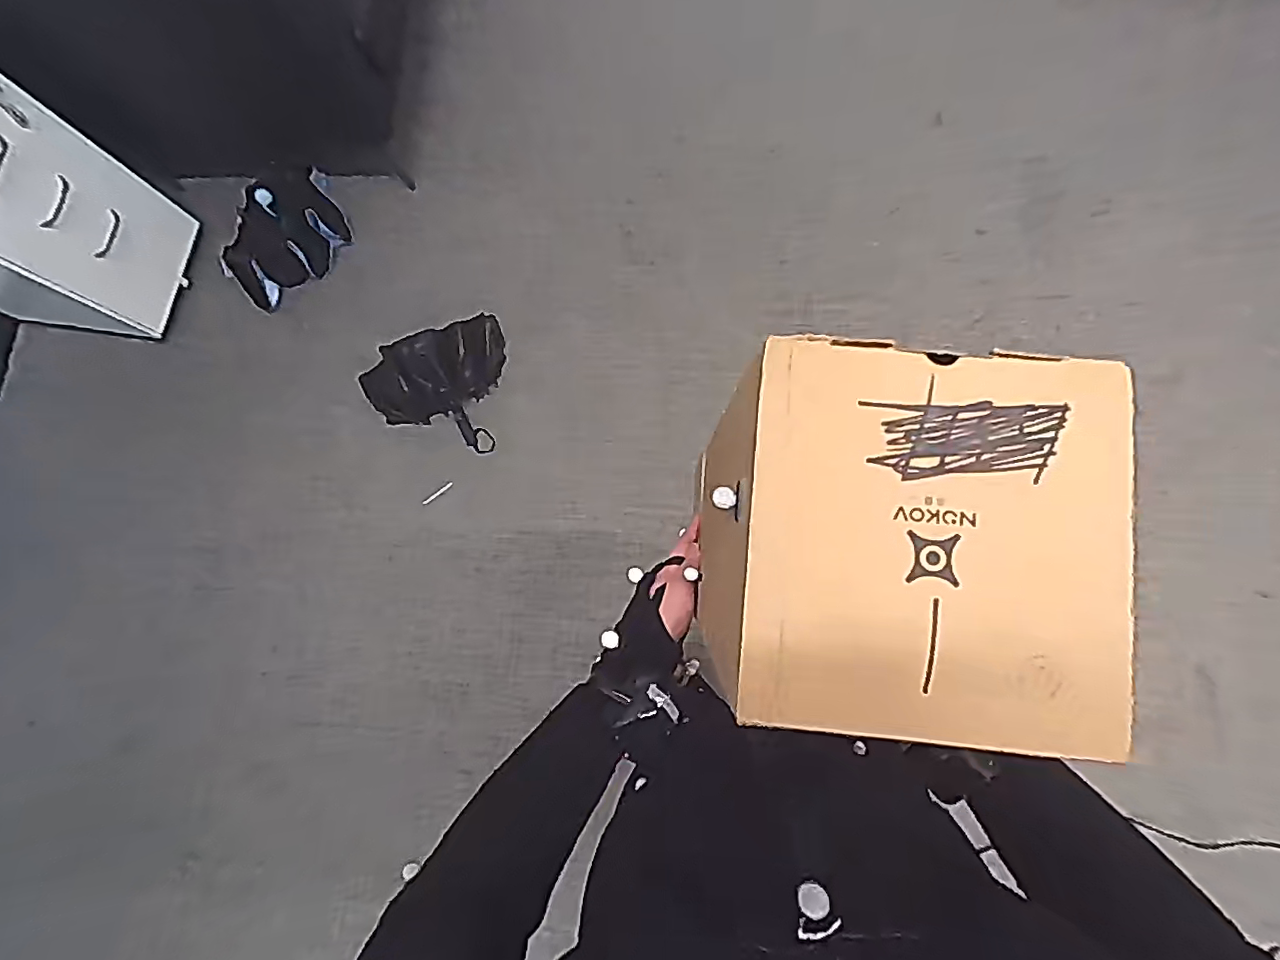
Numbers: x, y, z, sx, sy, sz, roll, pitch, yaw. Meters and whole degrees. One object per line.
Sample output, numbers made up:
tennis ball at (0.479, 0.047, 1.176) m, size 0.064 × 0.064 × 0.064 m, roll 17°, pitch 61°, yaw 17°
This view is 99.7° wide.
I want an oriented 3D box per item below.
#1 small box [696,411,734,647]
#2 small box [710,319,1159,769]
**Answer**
small box at (0.139, 0.051, 0.469) m, size 0.168 × 0.176 × 0.179 m, roll 4°, pitch 80°, yaw 3°
small box at (0.133, 0.031, 0.306) m, size 0.168 × 0.176 × 0.179 m, roll 5°, pitch 83°, yaw 4°
